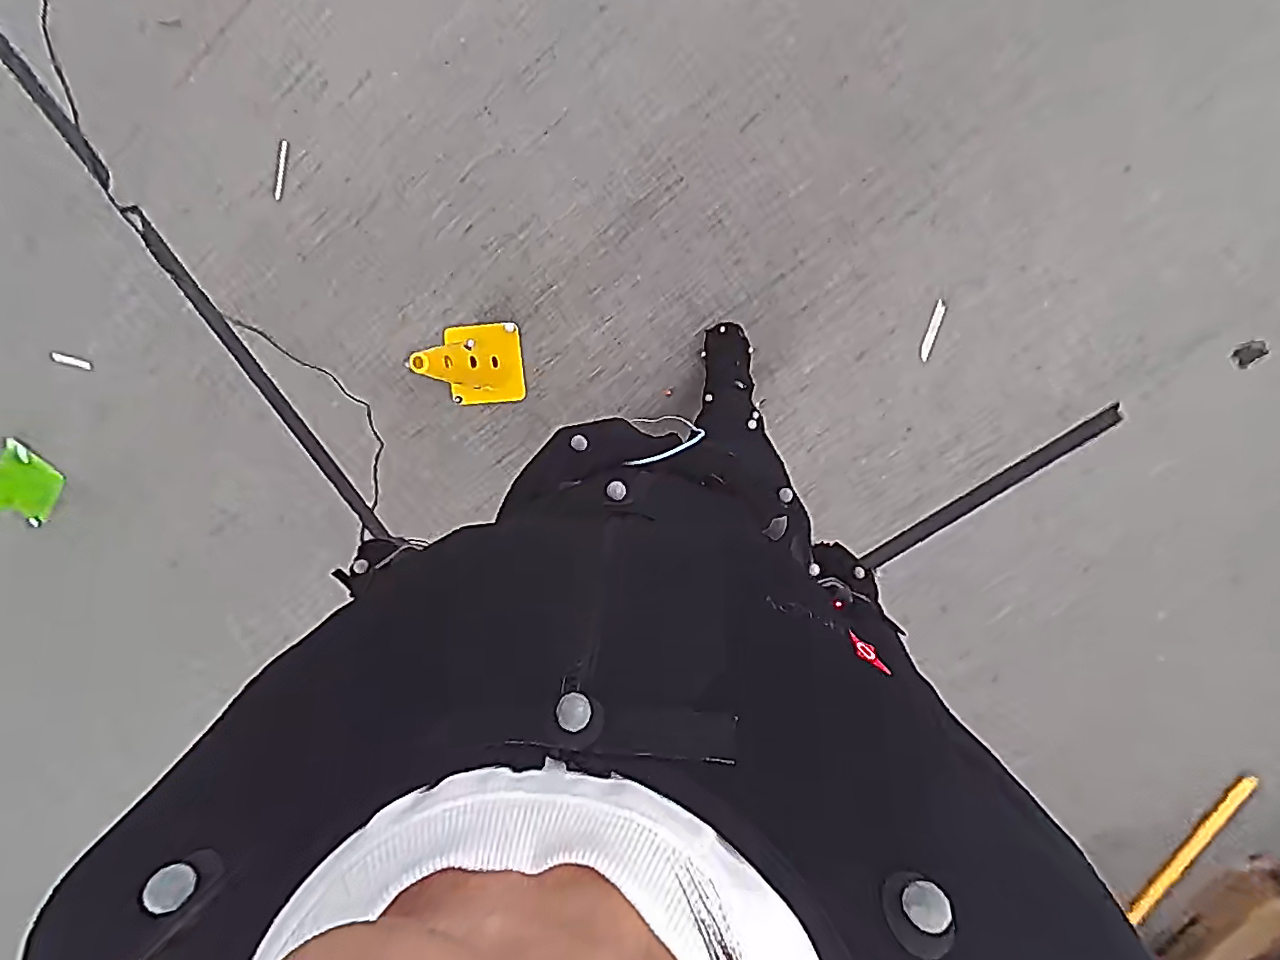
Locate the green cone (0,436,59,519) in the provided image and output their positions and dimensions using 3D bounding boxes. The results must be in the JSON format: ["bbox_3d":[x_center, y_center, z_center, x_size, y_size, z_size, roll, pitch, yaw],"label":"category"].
[{"bbox_3d":[-1.880,0.026,1.464,0.202,0.368,0.200,39,102,-2],"label":"green cone"}]
